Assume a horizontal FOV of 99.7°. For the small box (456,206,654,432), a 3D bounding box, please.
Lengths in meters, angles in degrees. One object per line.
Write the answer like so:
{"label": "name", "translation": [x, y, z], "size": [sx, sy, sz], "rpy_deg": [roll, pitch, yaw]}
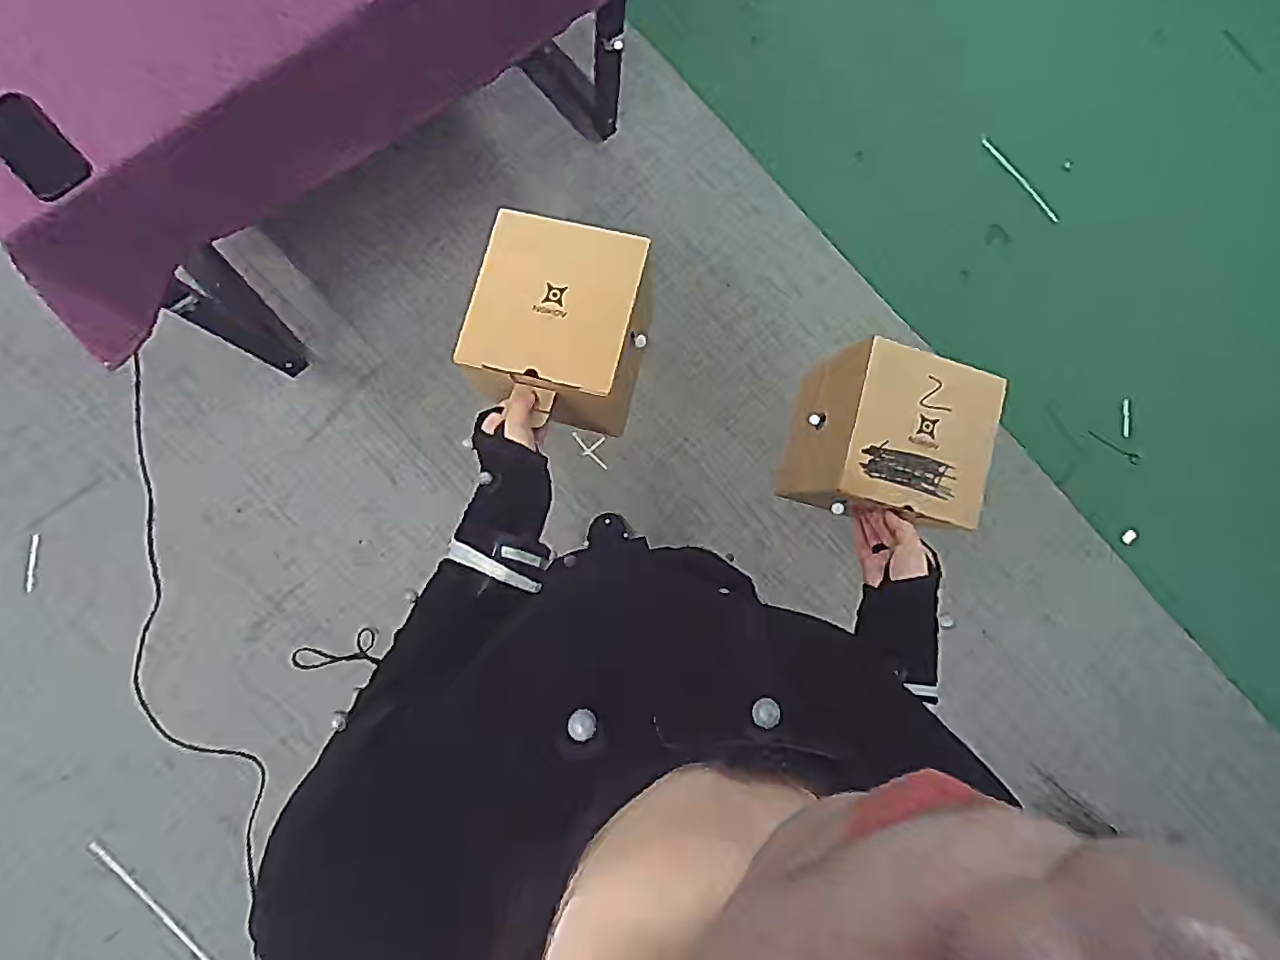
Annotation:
{"label": "small box", "translation": [-0.085, -0.173, 0.627], "size": [0.168, 0.176, 0.179], "rpy_deg": [14, 82, 4]}
